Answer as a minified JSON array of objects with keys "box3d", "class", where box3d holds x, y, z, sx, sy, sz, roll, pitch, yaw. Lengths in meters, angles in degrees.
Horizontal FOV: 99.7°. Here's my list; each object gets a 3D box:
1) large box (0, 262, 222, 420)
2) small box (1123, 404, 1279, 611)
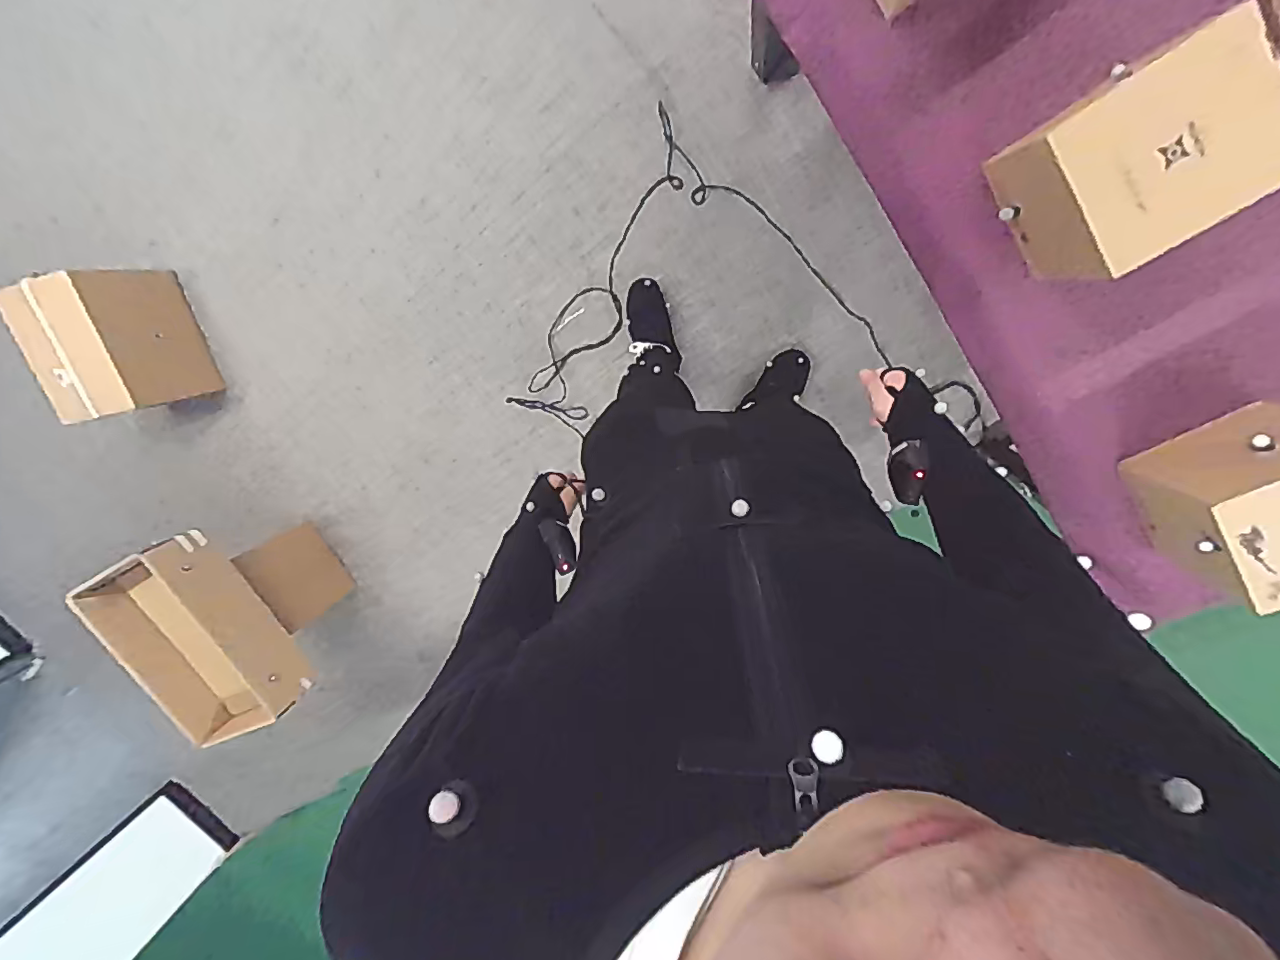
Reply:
[{"box3d":[-1.650,-0.442,1.701,0.320,0.320,0.408,-7,110,14],"class":"large box"},{"box3d":[0.776,0.024,0.674,0.179,0.176,0.168,-31,101,18],"class":"small box"}]
